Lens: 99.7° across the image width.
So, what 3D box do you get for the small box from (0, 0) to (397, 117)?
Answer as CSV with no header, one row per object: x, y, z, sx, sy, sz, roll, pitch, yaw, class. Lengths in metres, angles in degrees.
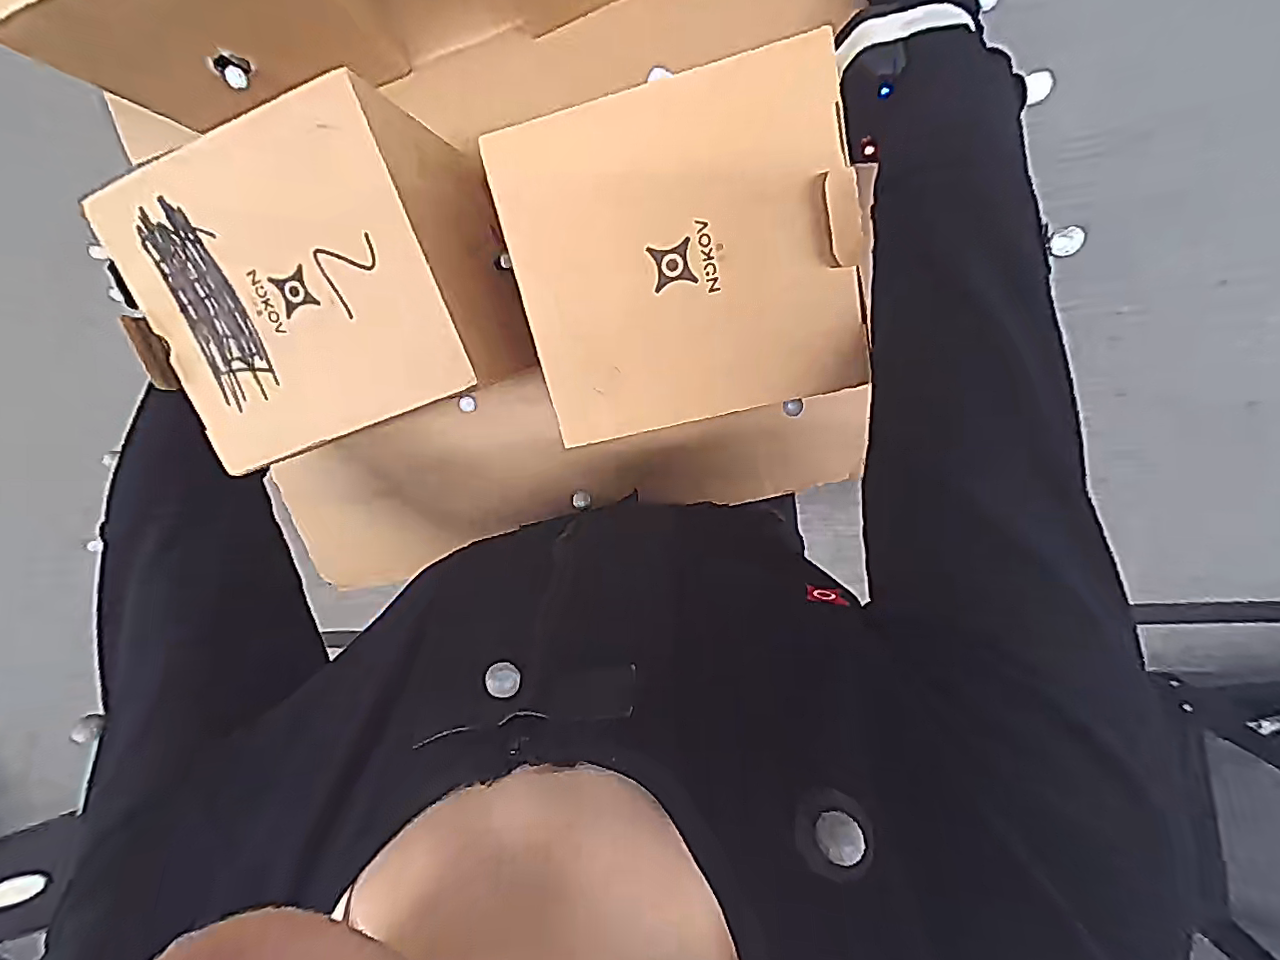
-0.283,-0.357,0.329,0.168,0.176,0.179,-14,101,9,small box
